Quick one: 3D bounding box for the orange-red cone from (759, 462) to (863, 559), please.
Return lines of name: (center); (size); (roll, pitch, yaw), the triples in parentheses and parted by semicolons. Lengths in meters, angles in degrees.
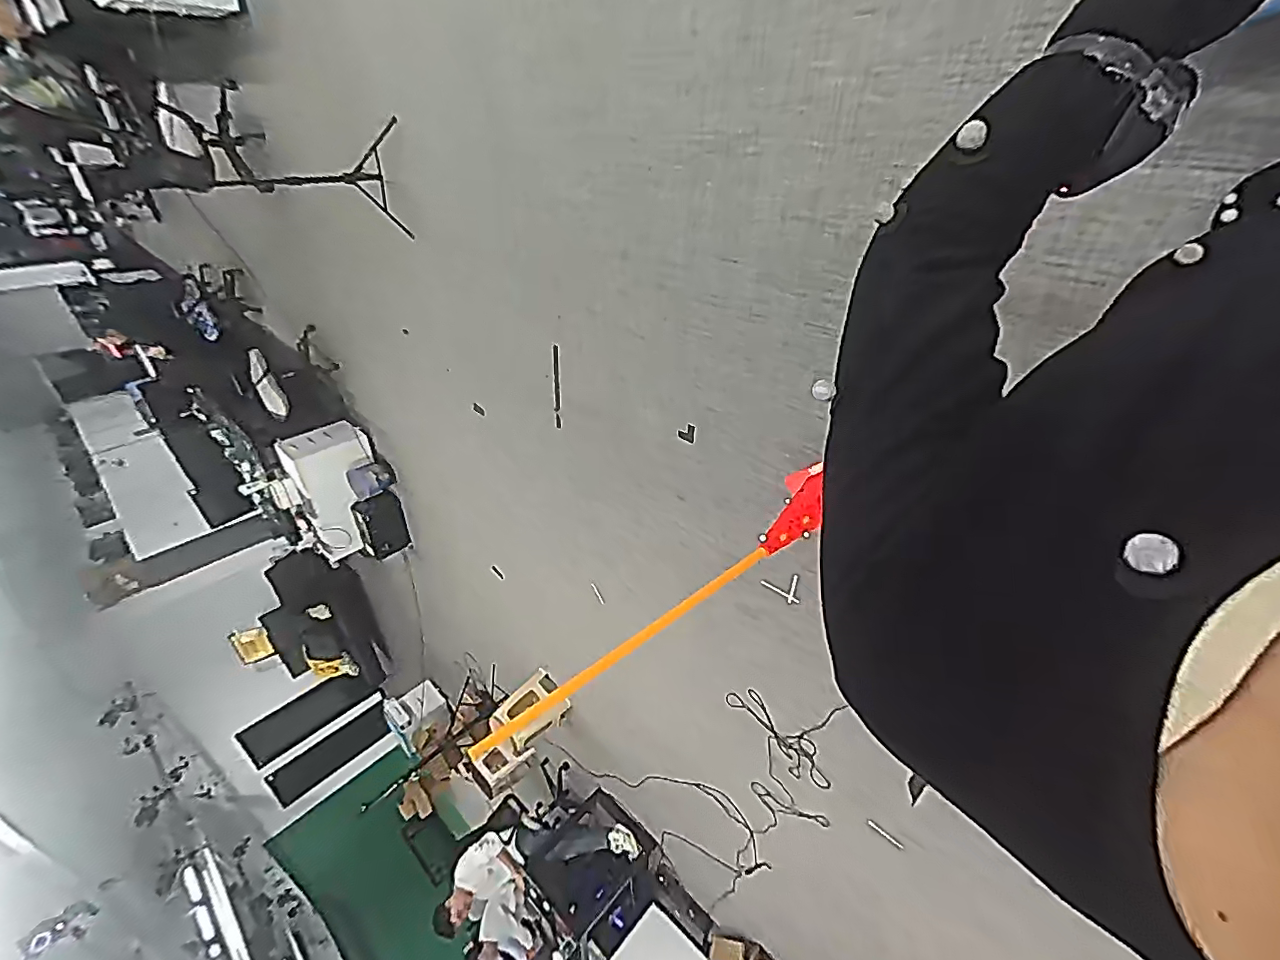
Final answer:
orange-red cone: (0.444, 0.119, 1.534); (0.199, 0.360, 0.198); (-29, 92, 50)
